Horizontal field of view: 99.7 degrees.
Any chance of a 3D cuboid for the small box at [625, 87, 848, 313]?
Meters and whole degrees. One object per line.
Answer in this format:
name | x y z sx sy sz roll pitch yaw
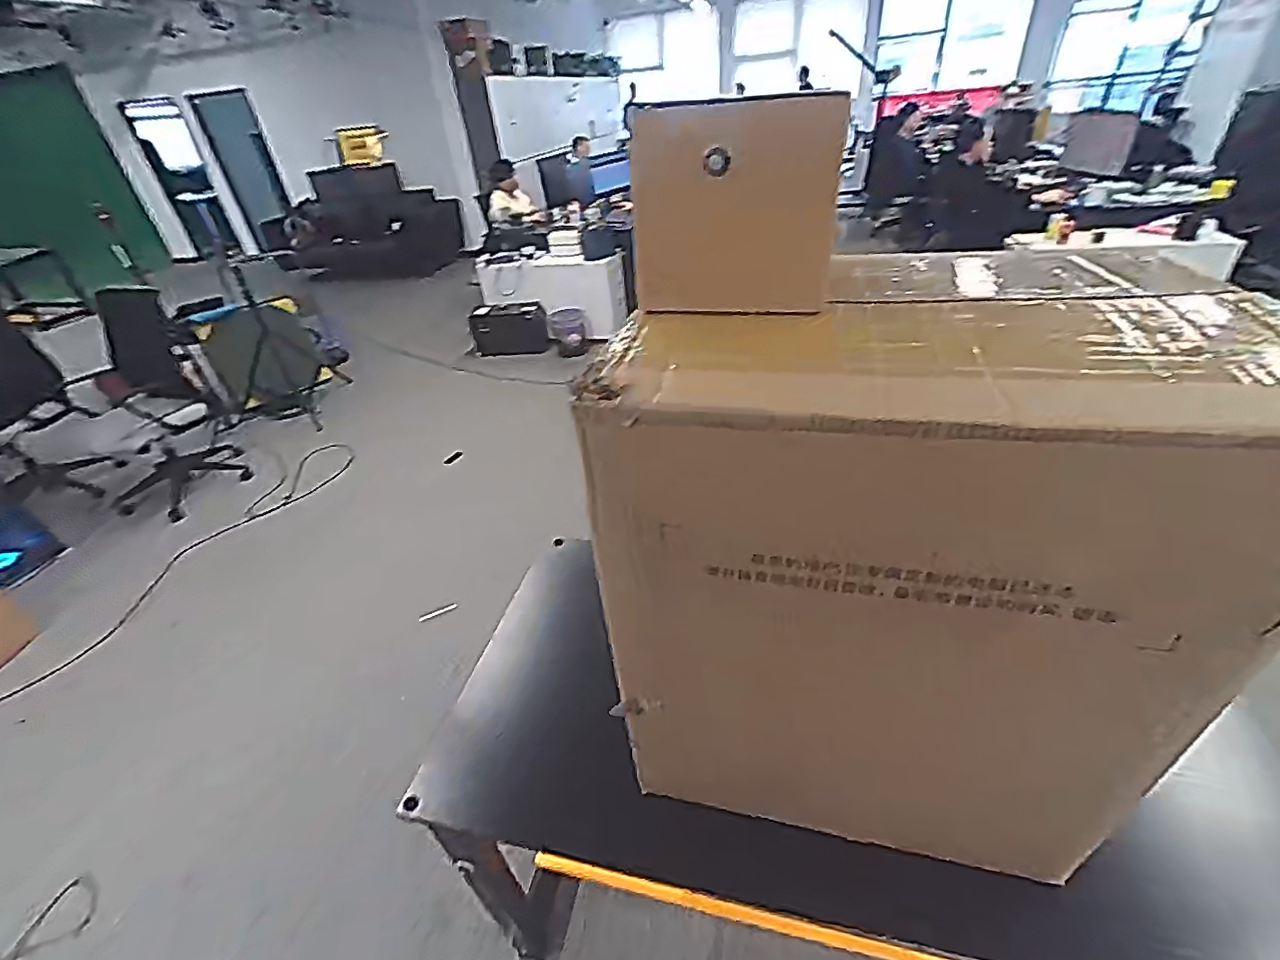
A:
small box | 0.094 -0.268 0.525 0.179 0.176 0.168 5 35 13
